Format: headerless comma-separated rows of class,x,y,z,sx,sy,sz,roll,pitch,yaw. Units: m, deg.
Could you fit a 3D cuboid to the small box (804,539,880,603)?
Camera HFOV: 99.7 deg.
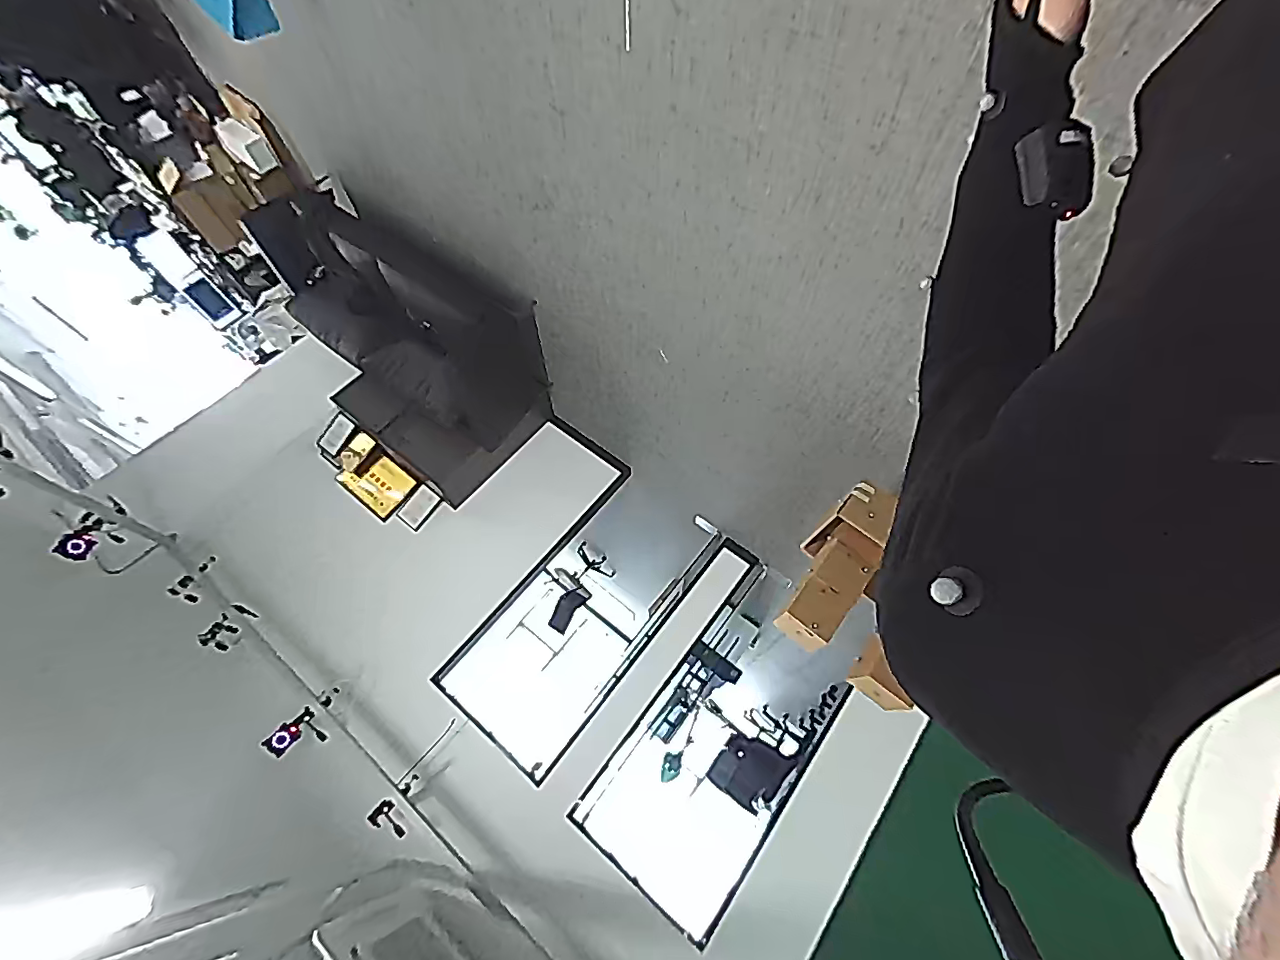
small box,0.726,0.335,1.933,0.168,0.176,0.179,39,159,12

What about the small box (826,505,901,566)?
small box,0.828,0.224,1.999,0.168,0.176,0.179,38,158,13

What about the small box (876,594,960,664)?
small box,0.961,0.518,1.865,0.168,0.176,0.179,38,158,11

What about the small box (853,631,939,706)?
small box,0.857,0.629,1.807,0.168,0.176,0.179,37,159,11

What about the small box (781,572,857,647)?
small box,0.622,0.449,1.879,0.168,0.176,0.179,37,158,14
